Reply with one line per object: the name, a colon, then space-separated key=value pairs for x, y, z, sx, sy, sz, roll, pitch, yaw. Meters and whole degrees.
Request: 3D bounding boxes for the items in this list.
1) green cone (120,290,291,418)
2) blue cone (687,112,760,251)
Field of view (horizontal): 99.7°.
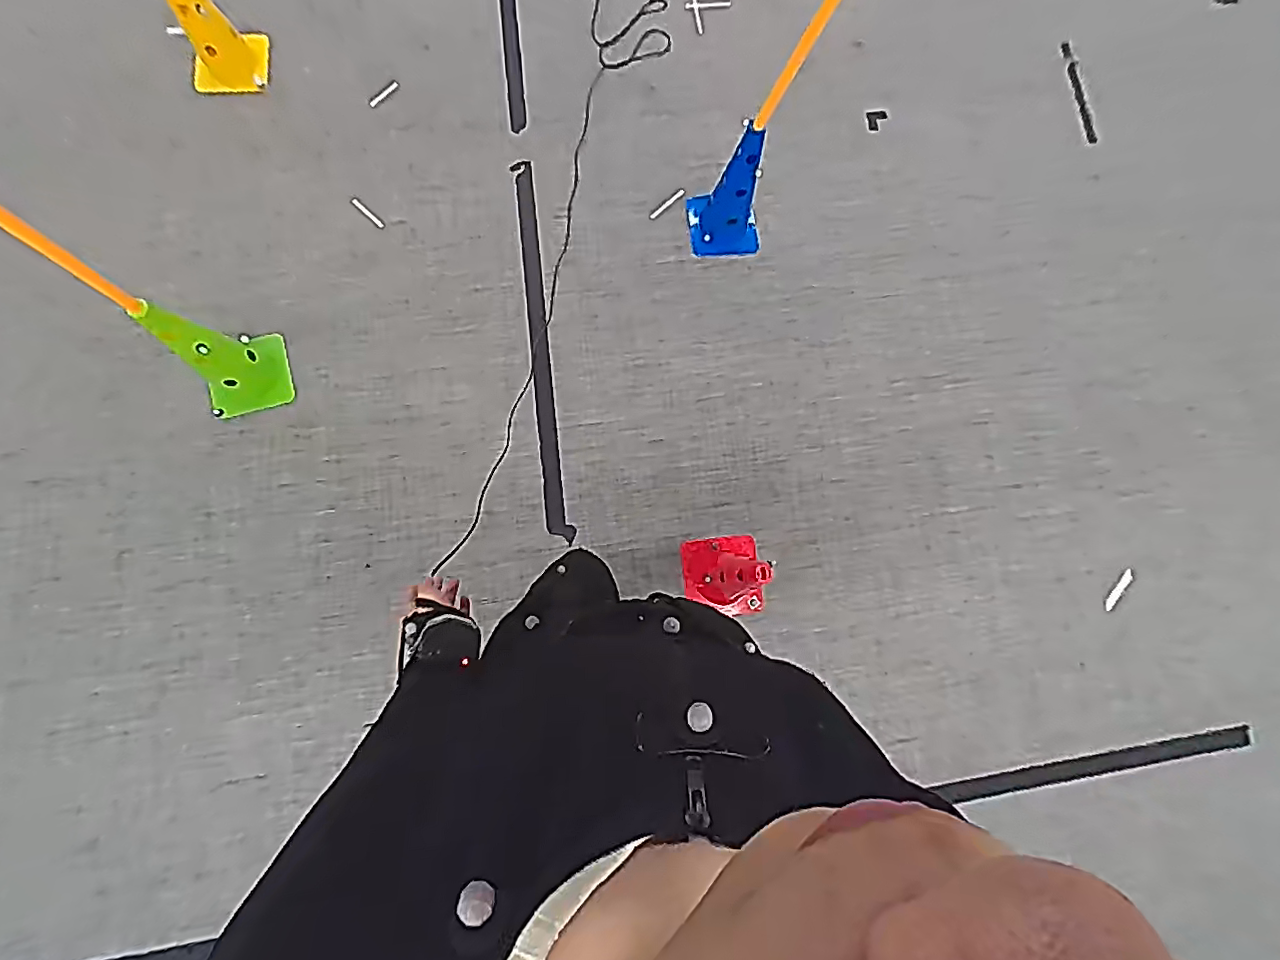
green cone: x=-1.008 y=-0.311 z=1.236 sx=0.200 sy=0.368 sz=0.202 roll=-17 pitch=79 yaw=-8
blue cone: x=0.252 y=-0.796 z=1.440 sx=0.193 sy=0.380 sz=0.192 roll=-4 pitch=78 yaw=-5
